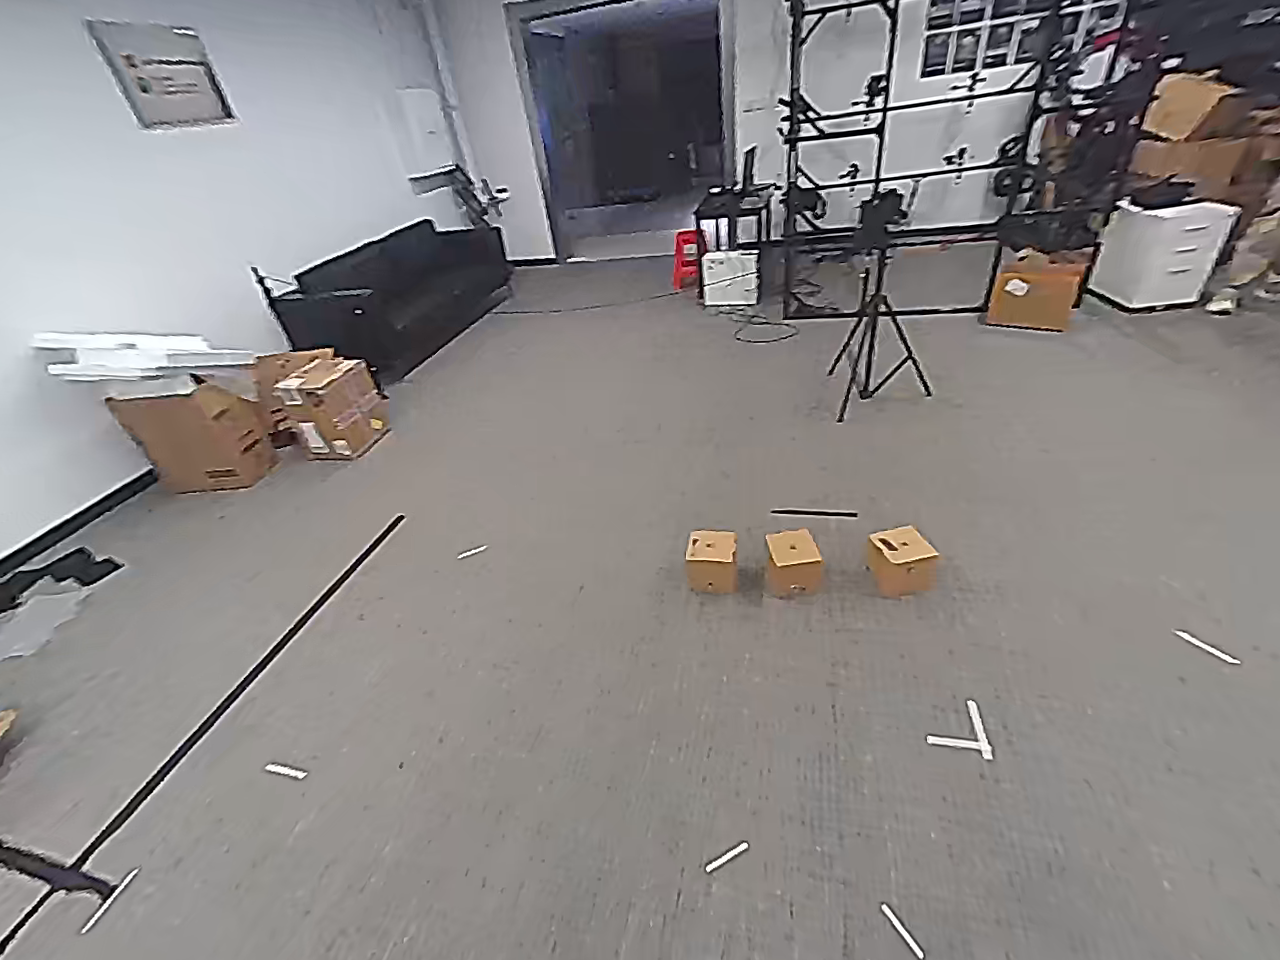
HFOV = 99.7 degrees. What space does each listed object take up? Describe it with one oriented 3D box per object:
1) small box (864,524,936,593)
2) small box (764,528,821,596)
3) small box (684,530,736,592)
[{"bbox_3d":[0.935,0.288,1.966,0.179,0.176,0.168,-12,35,-5],"label":"small box"},{"bbox_3d":[0.567,0.306,2.027,0.168,0.176,0.179,-10,35,1],"label":"small box"},{"bbox_3d":[0.275,0.314,2.083,0.179,0.176,0.168,1,36,15],"label":"small box"}]
